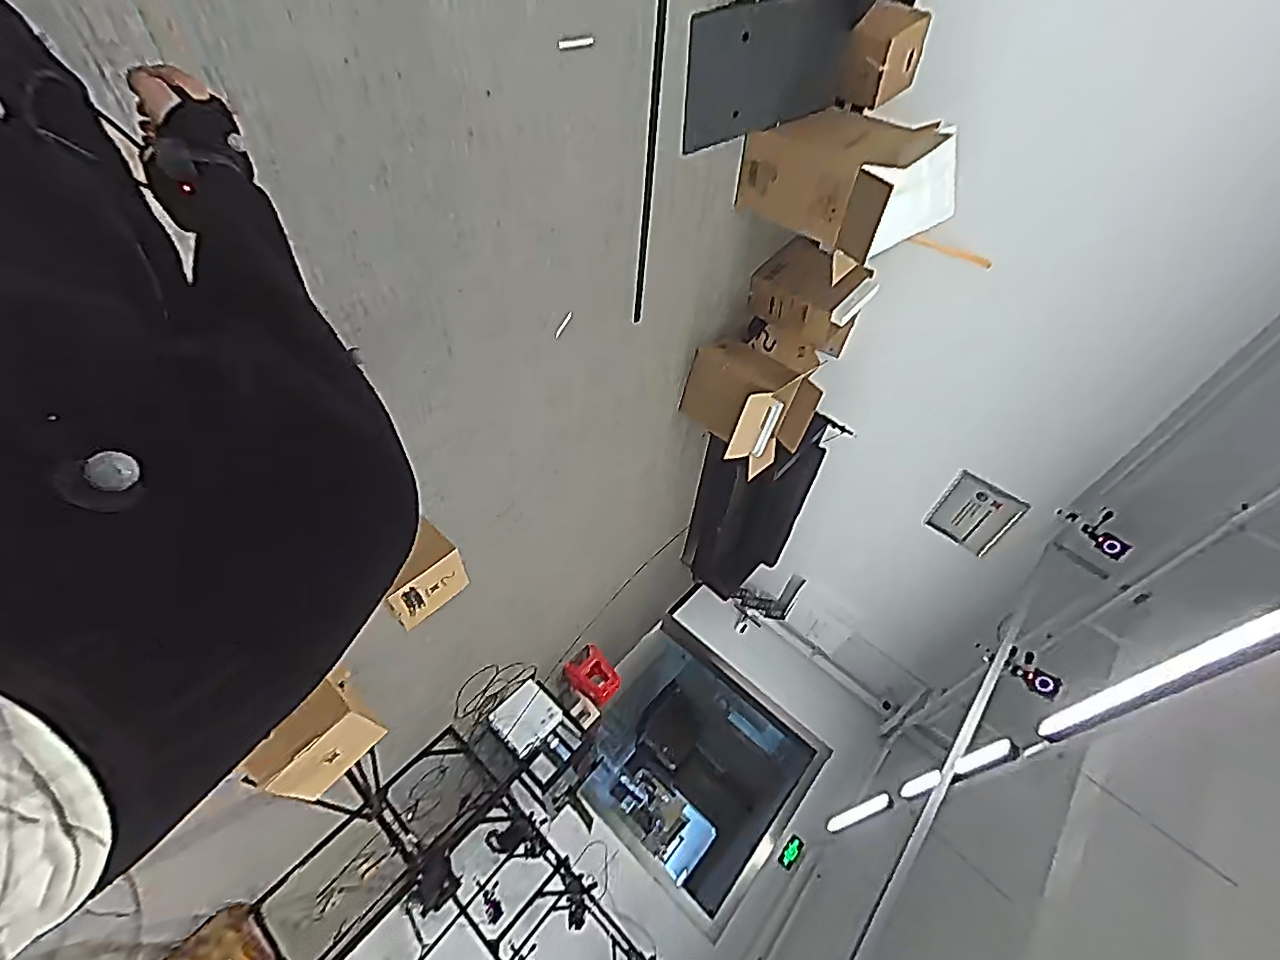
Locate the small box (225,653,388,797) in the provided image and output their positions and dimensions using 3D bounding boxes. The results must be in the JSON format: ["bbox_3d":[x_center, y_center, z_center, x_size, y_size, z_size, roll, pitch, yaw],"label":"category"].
[{"bbox_3d":[-0.619,0.453,1.011,0.168,0.176,0.179,-43,155,-25],"label":"small box"}]
